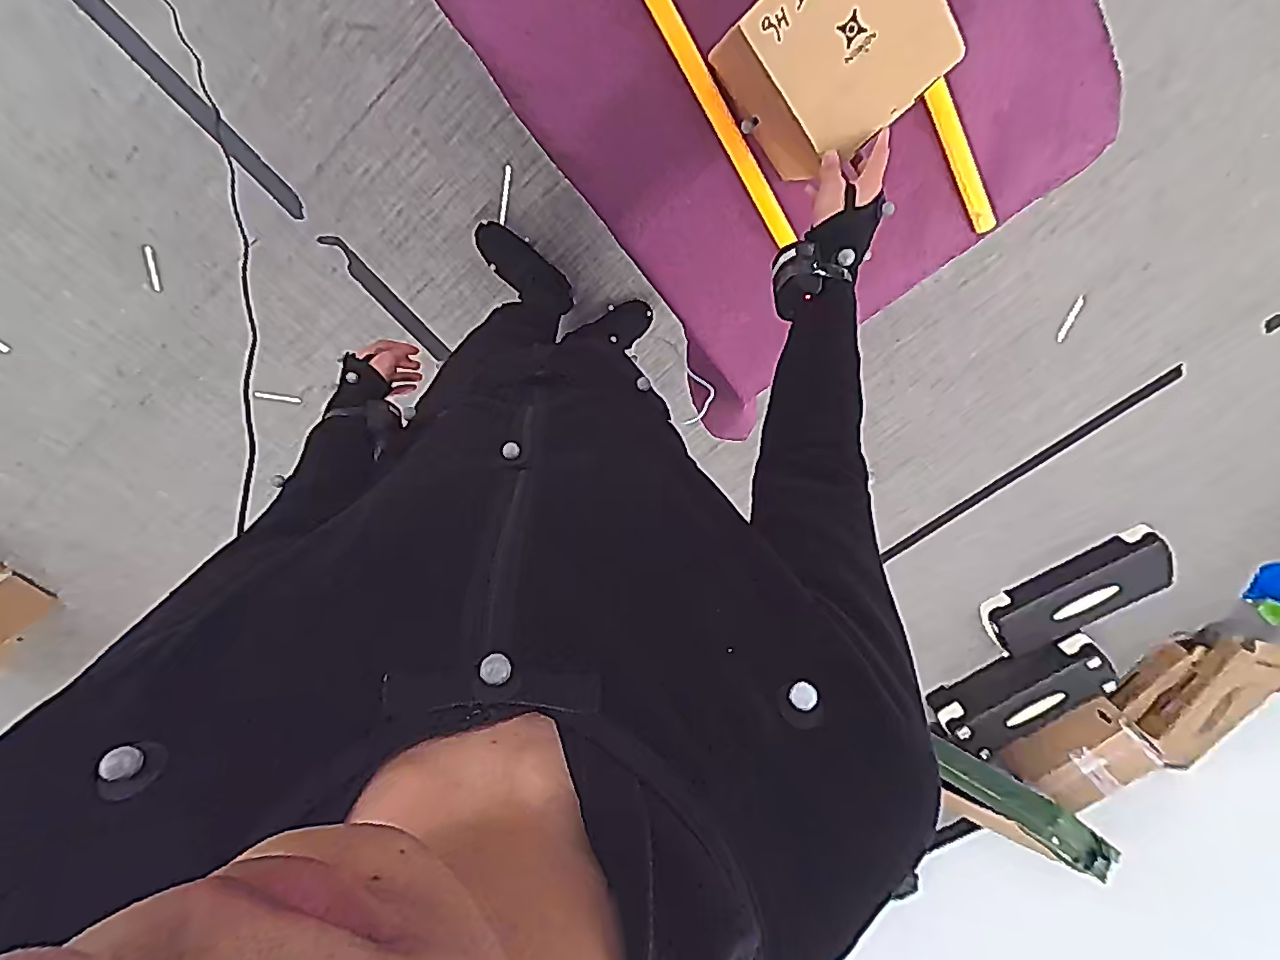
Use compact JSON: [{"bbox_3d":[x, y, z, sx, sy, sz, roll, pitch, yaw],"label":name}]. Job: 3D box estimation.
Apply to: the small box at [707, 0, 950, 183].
[{"bbox_3d":[0.200,-0.472,0.613,0.168,0.176,0.179,-39,115,16],"label":"small box"}]
